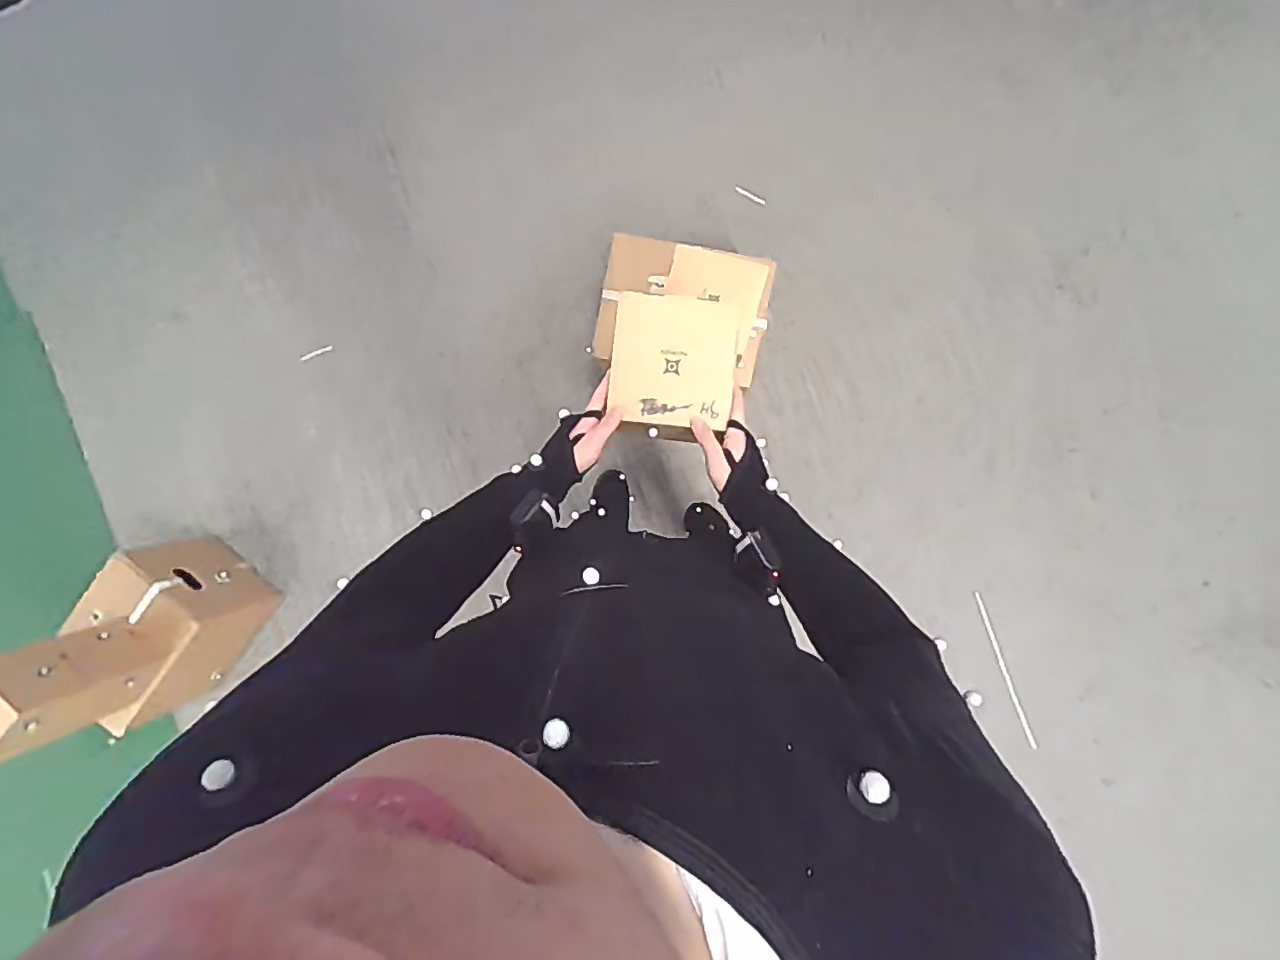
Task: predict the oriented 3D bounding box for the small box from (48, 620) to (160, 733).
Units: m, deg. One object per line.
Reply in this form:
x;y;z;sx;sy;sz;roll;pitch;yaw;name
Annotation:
-1.368;0.480;1.353;0.168;0.176;0.179;39;95;2;small box

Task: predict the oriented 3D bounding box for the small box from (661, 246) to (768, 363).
0.132;-0.324;1.046;0.179;0.176;0.168;16;94;5;small box

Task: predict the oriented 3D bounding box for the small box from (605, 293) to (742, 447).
0.047;-0.150;0.788;0.168;0.176;0.179;6;89;3;small box

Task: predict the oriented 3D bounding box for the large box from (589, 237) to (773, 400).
0.111;-0.412;1.455;0.408;0.320;0.320;12;92;5;large box

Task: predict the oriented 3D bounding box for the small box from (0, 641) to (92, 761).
-1.380;0.487;1.189;0.168;0.176;0.179;41;95;3;small box
